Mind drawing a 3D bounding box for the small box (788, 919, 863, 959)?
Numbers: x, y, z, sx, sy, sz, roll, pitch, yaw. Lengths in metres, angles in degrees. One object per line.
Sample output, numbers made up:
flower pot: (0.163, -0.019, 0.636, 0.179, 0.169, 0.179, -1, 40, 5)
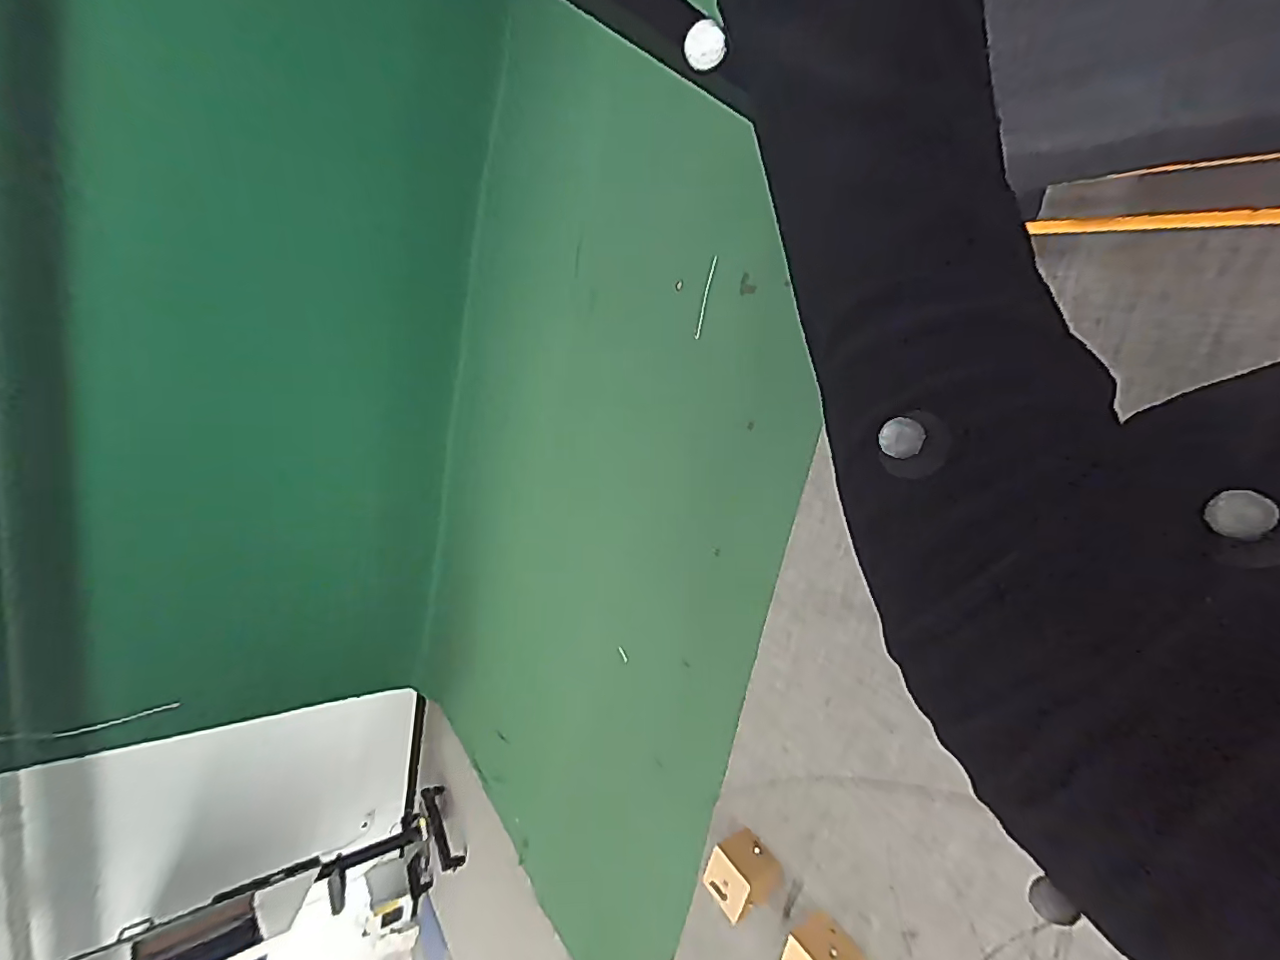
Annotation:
small box: (0.544, 1.456, 1.587, 0.168, 0.176, 0.179, 26, 110, 49)

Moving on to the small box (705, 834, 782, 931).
small box: (0.353, 1.353, 1.830, 0.168, 0.176, 0.179, 31, 112, 47)
